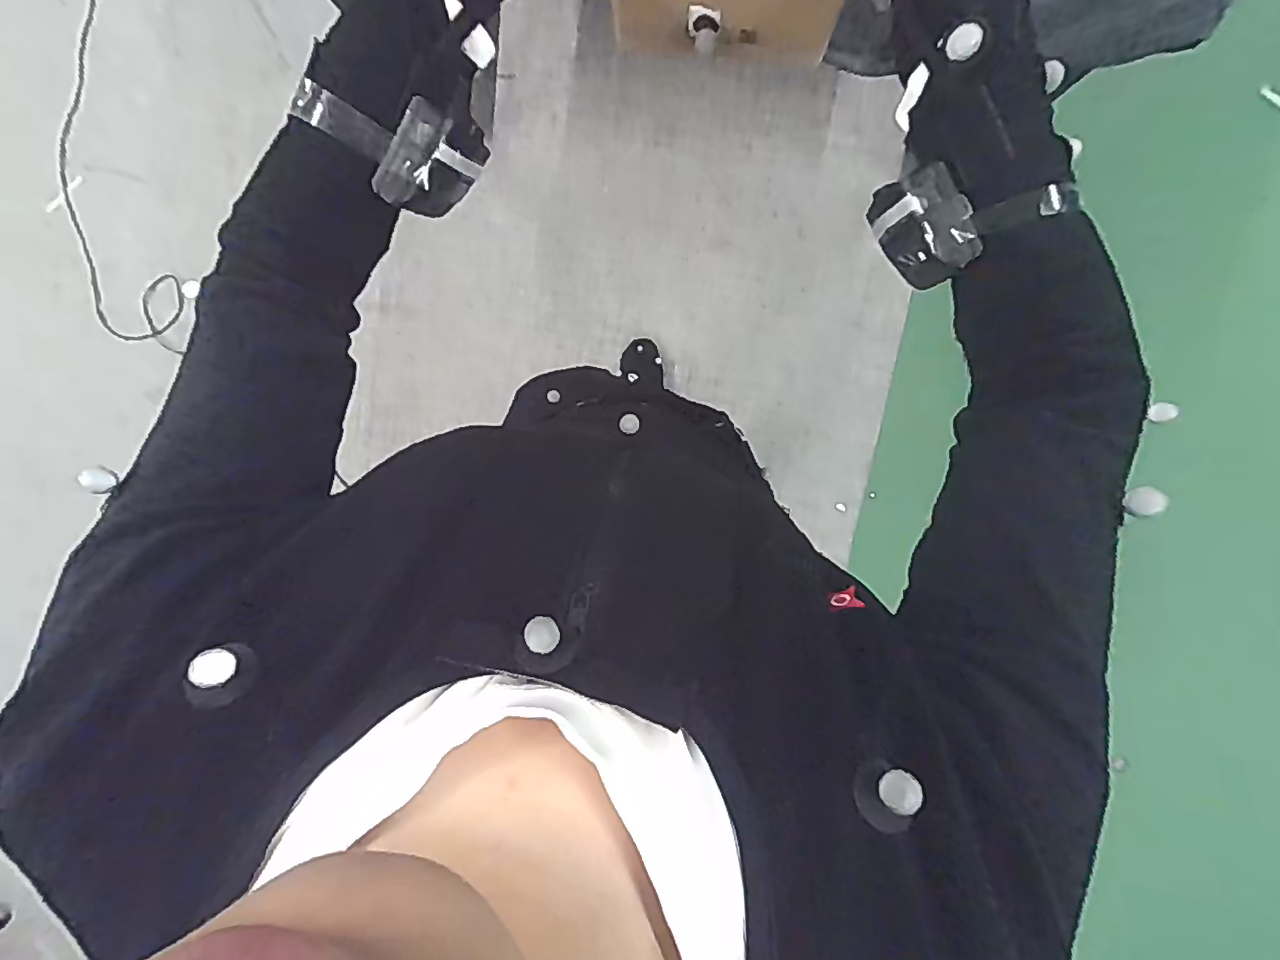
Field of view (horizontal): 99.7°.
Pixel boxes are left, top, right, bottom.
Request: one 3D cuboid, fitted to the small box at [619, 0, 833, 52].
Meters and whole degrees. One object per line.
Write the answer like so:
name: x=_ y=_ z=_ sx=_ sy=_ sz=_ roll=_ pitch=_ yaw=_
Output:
small box: x=0.067 y=-0.431 z=0.349 sx=0.168 sy=0.176 sz=0.179 roll=7 pitch=97 yaw=3
